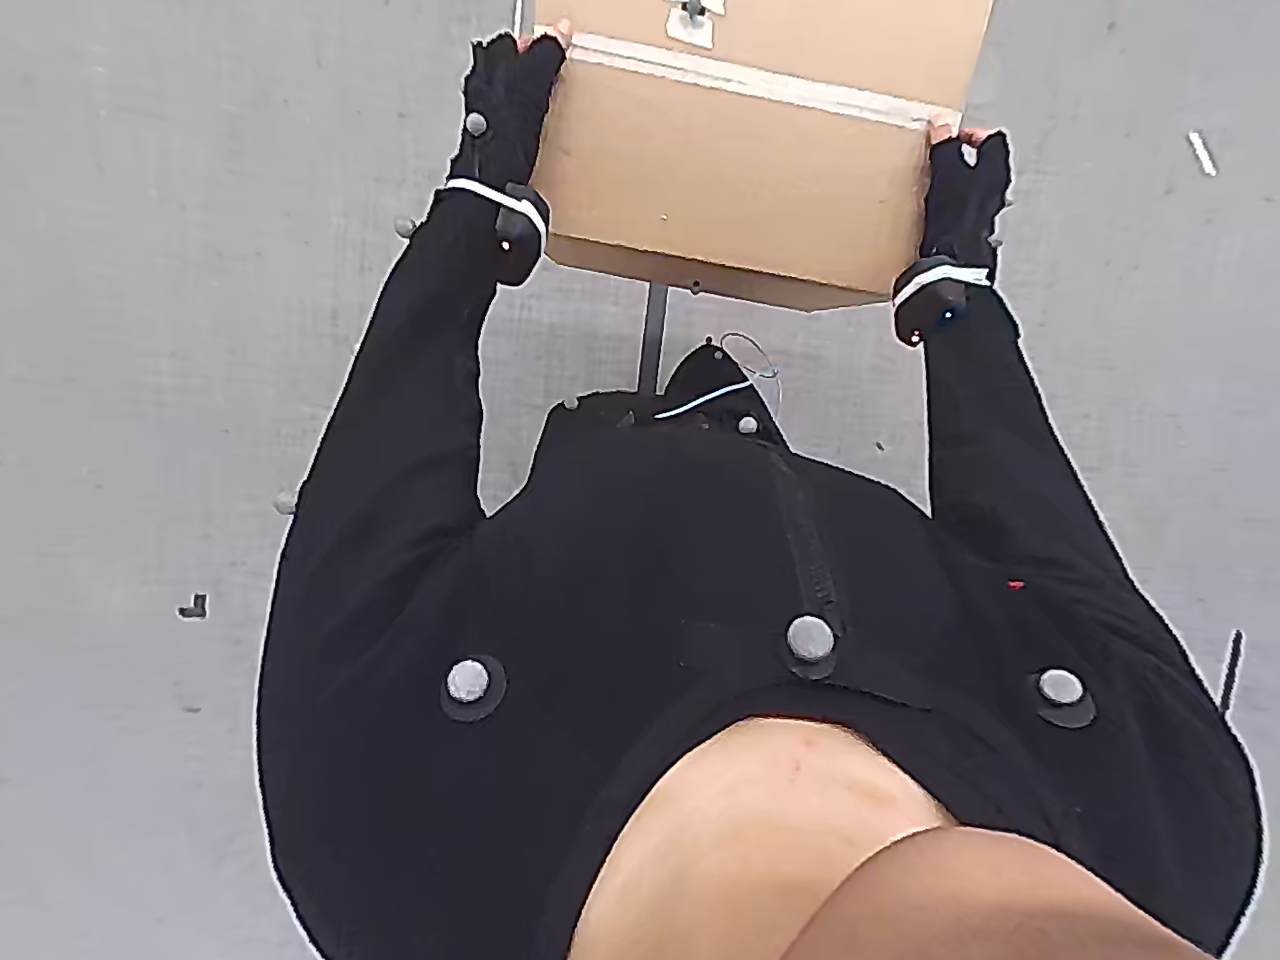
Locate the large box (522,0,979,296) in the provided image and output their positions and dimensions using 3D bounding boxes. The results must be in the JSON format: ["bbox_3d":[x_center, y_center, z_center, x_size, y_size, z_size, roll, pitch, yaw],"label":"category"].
[{"bbox_3d":[0.099,-0.417,0.653,0.408,0.320,0.320,9,104,-4],"label":"large box"}]
